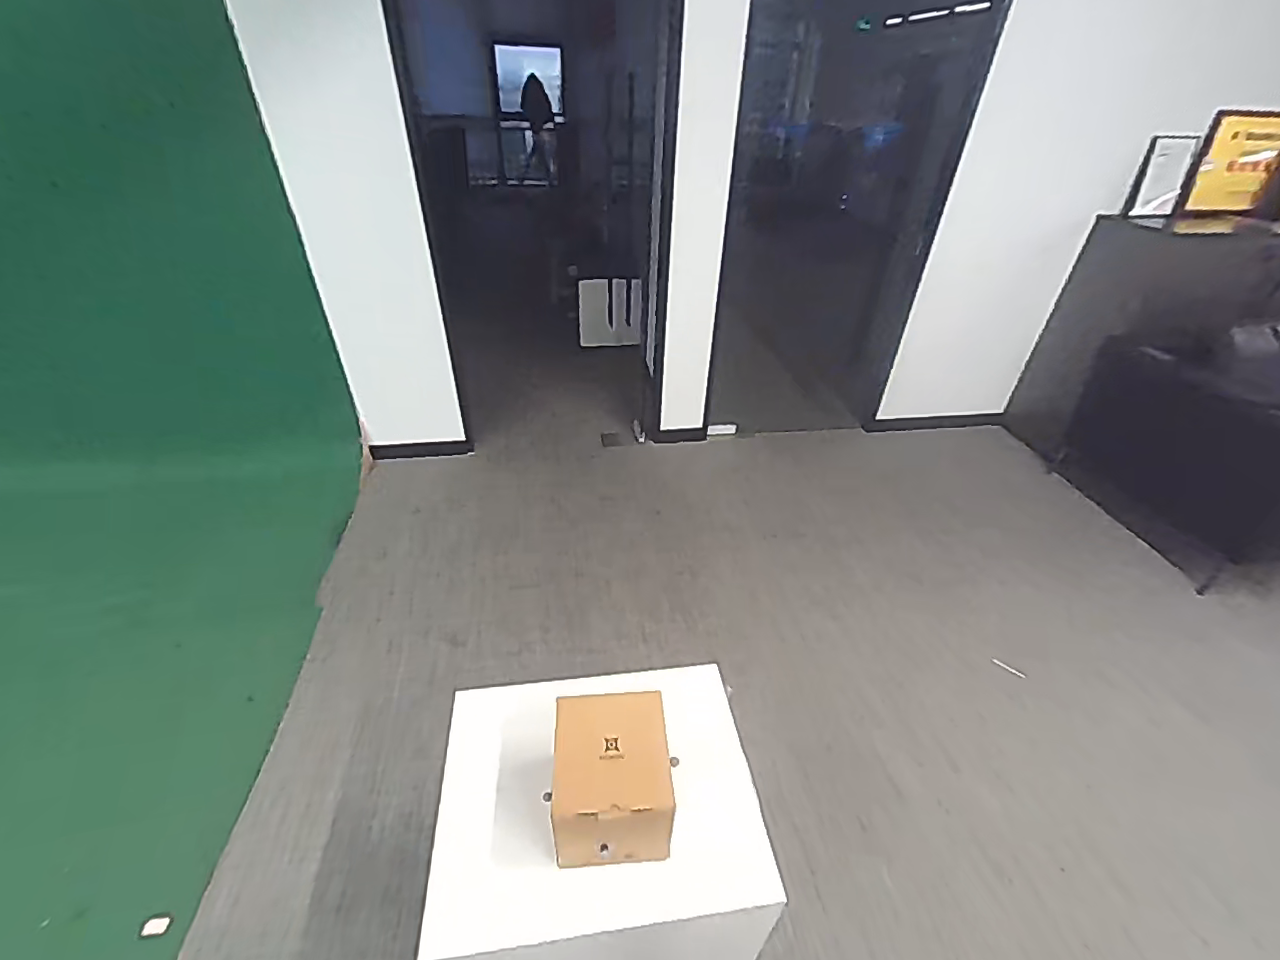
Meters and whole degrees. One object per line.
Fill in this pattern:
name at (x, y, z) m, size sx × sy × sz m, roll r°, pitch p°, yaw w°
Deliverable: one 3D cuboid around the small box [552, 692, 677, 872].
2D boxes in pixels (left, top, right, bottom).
small box at (-0.042, 0.446, 0.808) m, size 0.168 × 0.176 × 0.179 m, roll -2°, pitch 35°, yaw -5°
